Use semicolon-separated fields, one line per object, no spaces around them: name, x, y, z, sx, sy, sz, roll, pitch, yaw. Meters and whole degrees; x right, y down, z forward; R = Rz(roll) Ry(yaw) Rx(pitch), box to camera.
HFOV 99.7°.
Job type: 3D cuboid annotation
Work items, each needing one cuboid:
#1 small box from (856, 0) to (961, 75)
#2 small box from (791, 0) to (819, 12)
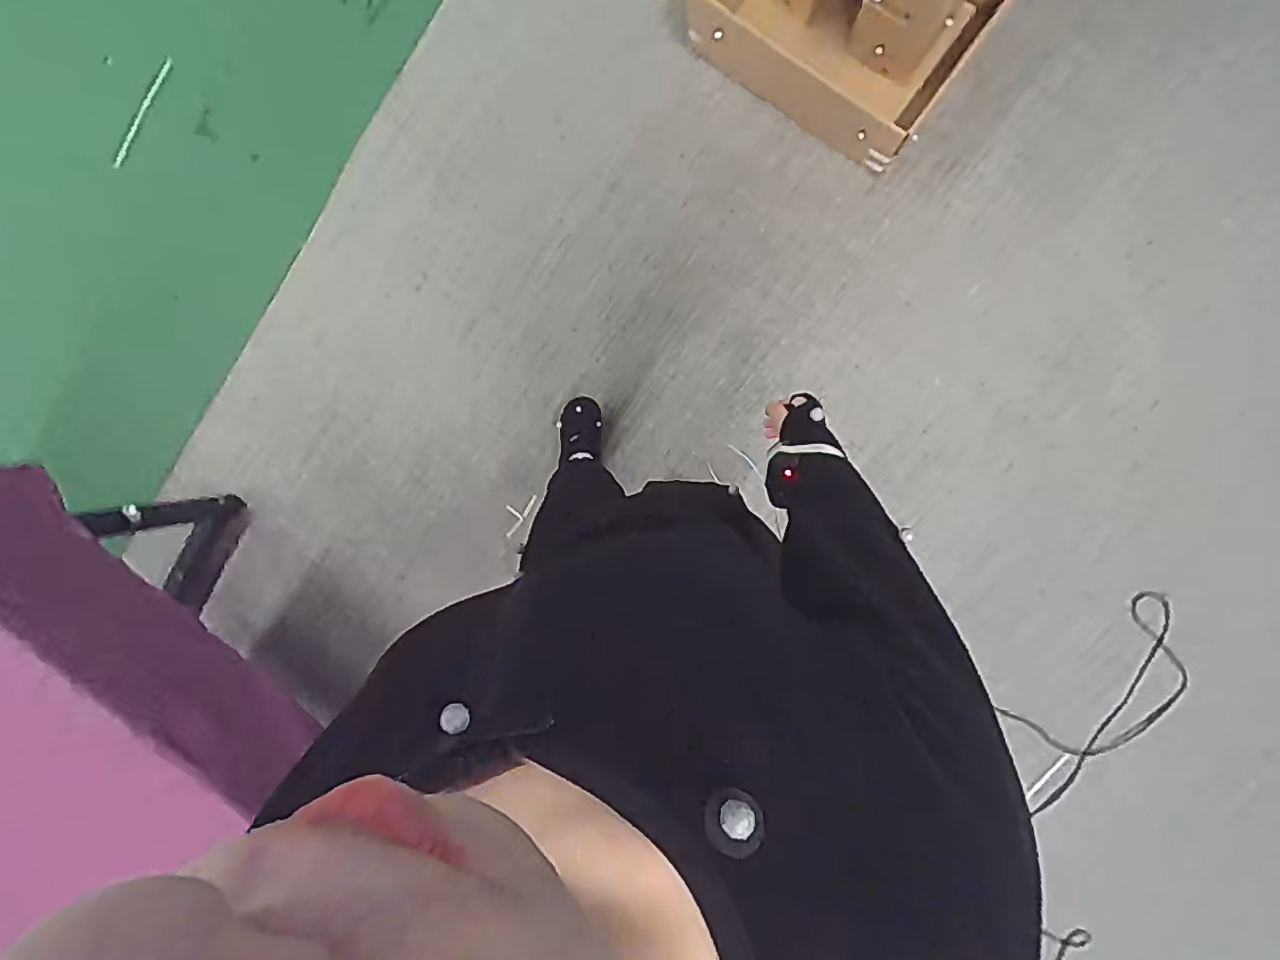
small box;0.600;-1.050;1.184;0.168;0.176;0.179;37;100;4
small box;0.383;-1.215;1.201;0.168;0.176;0.179;41;99;2
